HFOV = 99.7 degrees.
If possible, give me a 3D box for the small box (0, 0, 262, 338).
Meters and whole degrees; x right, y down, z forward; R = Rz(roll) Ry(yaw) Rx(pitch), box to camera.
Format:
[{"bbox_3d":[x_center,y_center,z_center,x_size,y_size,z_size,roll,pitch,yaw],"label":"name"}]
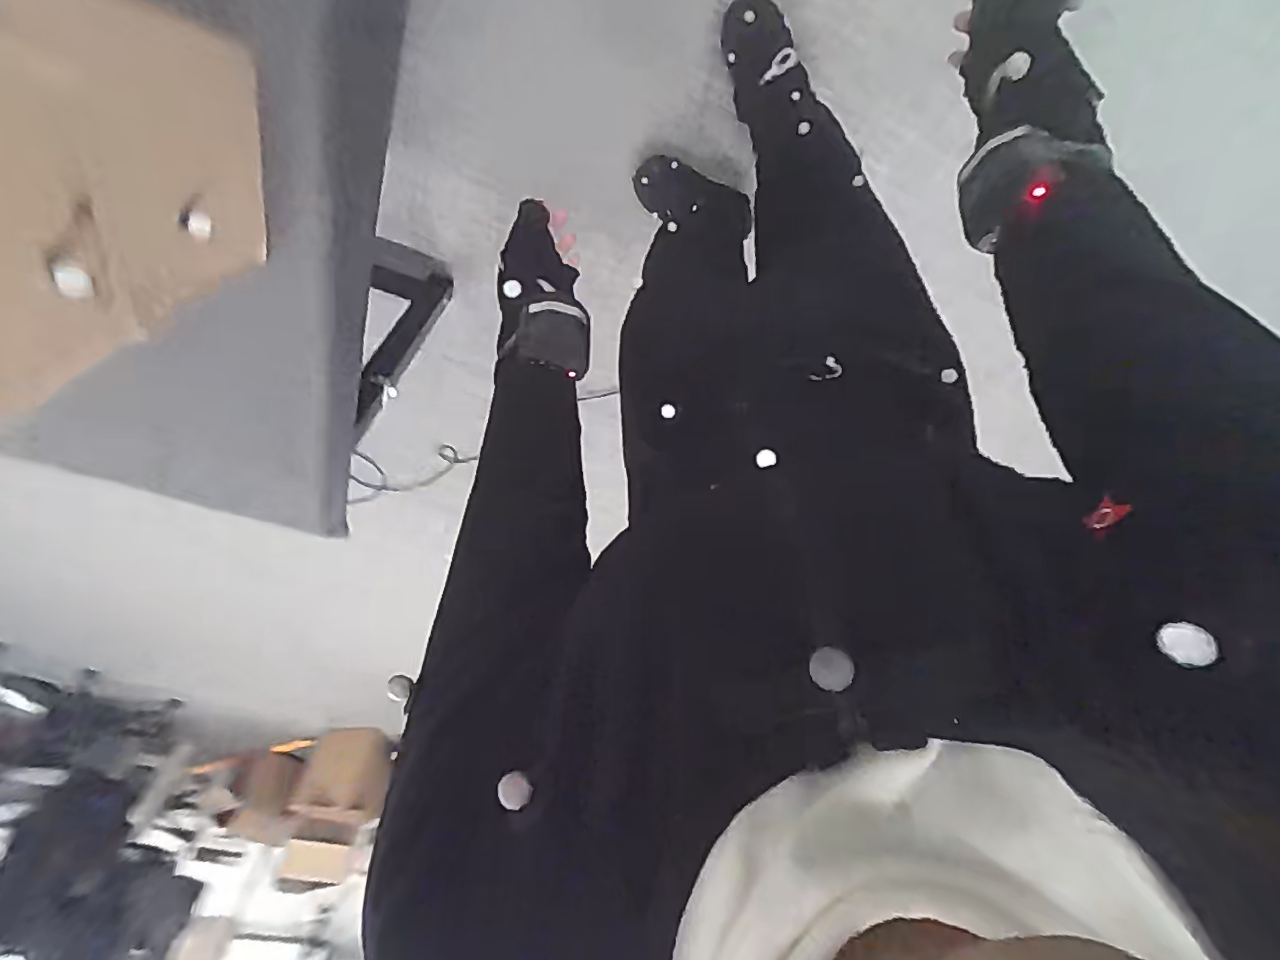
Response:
[{"bbox_3d":[-0.407,-0.241,0.391,0.168,0.176,0.179,19,131,-13],"label":"small box"}]
